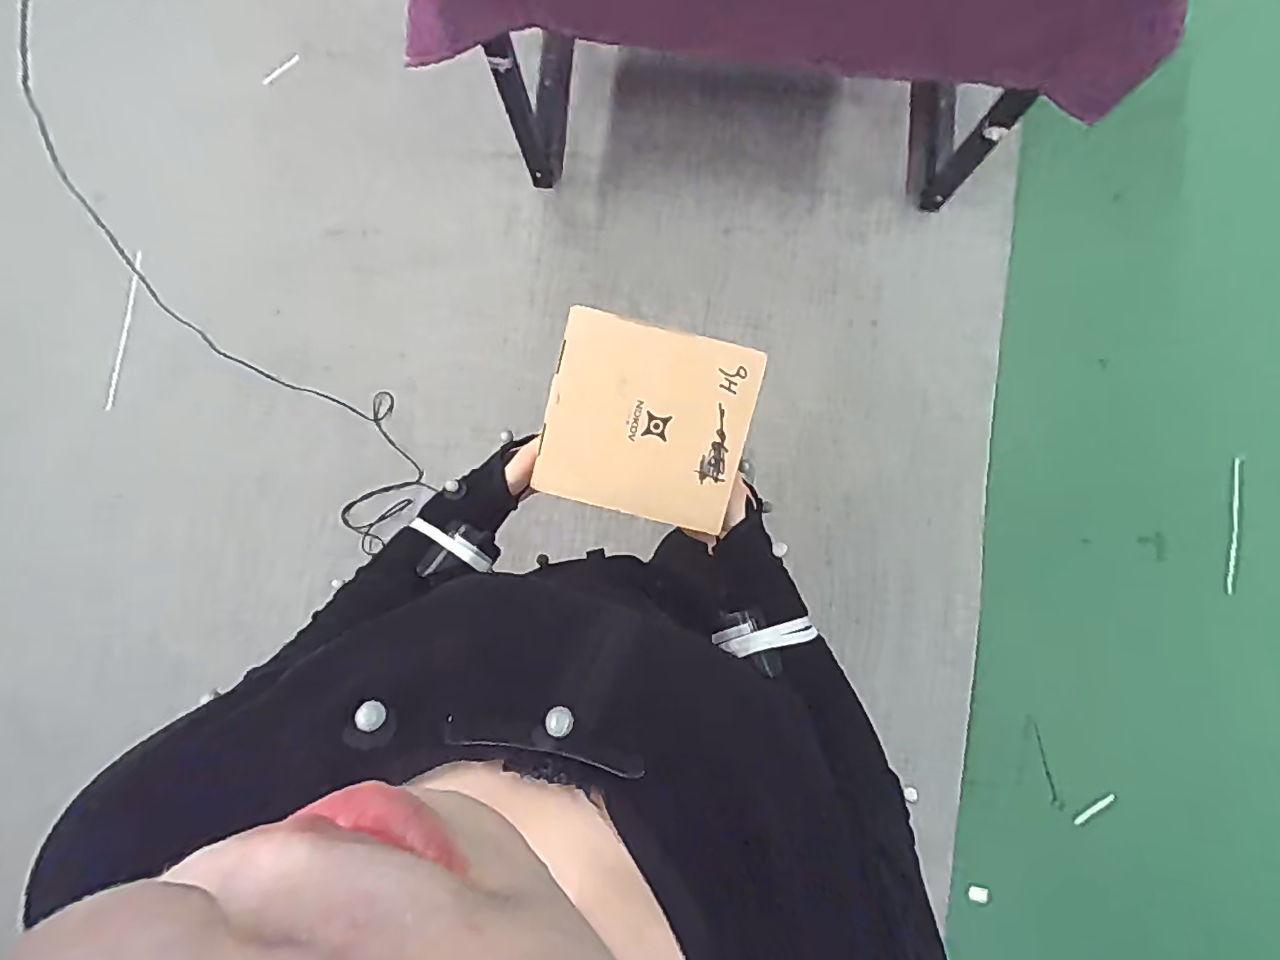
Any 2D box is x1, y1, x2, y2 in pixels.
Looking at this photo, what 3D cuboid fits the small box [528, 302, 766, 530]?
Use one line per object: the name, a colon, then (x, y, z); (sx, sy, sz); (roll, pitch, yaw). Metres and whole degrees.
small box: (0.008, -0.062, 0.548); (0.179, 0.176, 0.168); (14, 97, 1)
